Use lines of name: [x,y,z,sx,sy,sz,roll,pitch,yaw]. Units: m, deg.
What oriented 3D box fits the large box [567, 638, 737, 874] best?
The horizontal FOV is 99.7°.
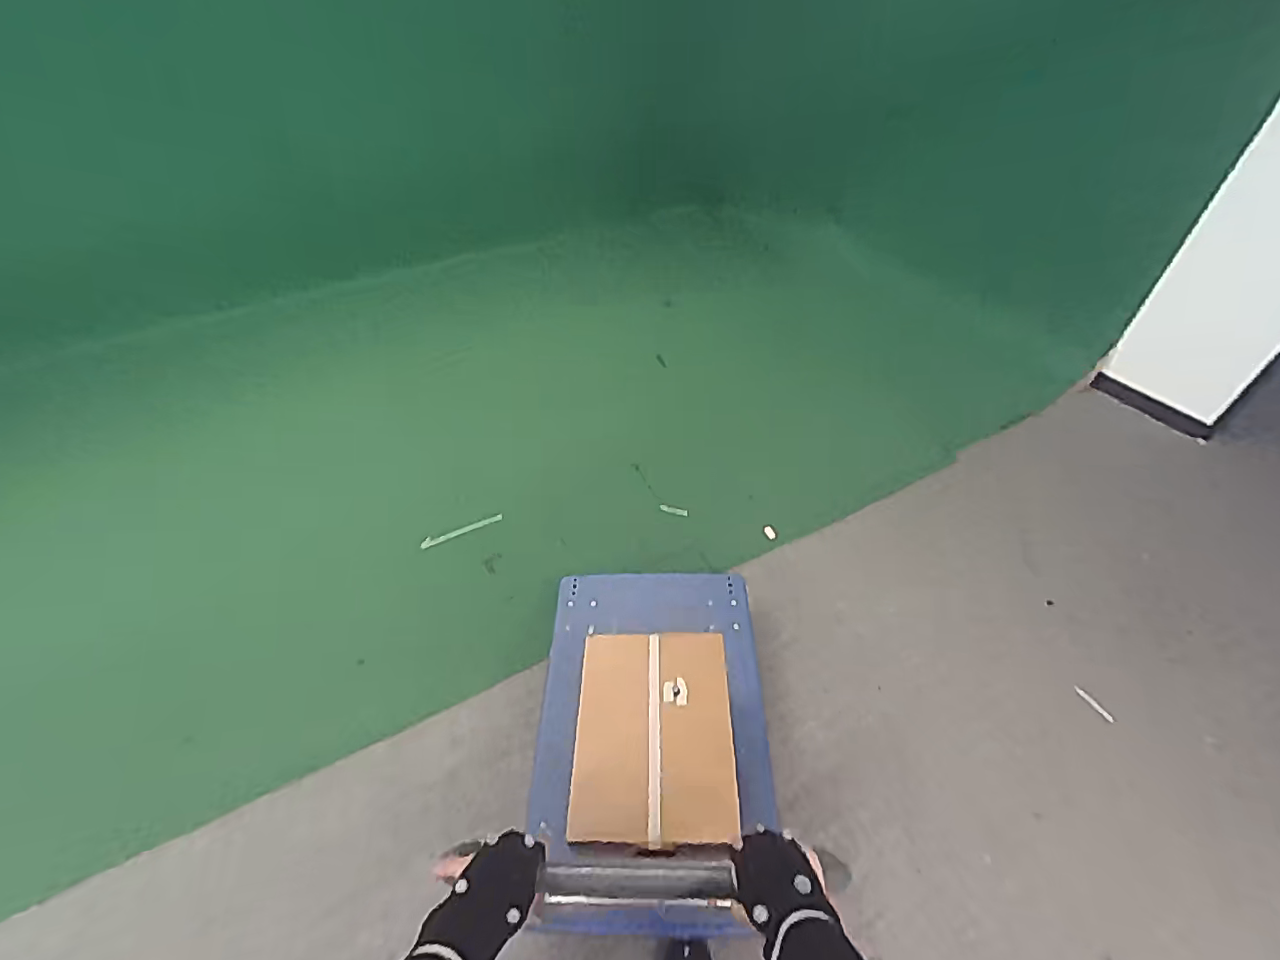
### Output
large box: [0.031,0.613,1.212,0.320,0.320,0.408,0,44,3]
